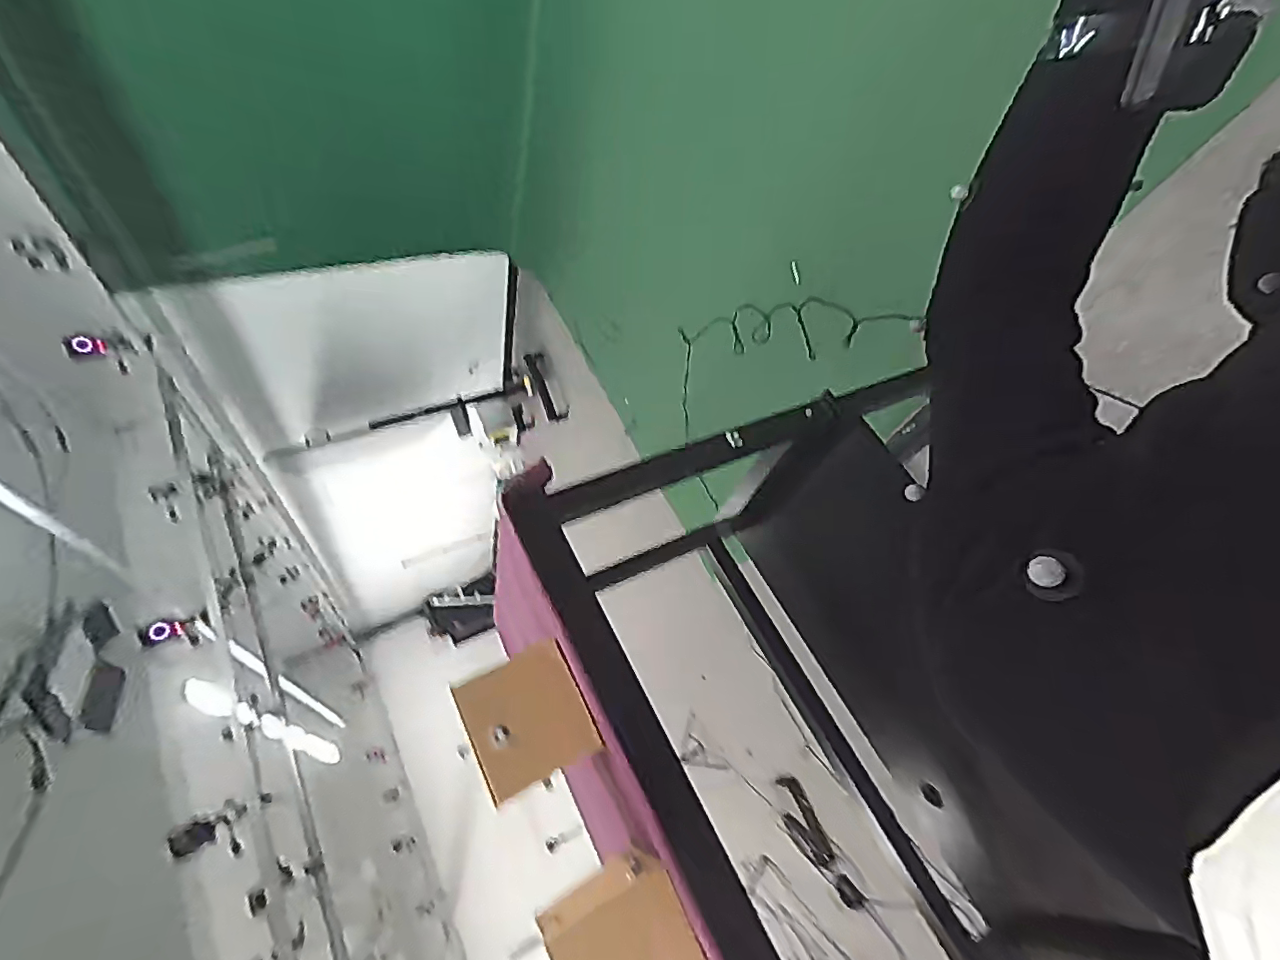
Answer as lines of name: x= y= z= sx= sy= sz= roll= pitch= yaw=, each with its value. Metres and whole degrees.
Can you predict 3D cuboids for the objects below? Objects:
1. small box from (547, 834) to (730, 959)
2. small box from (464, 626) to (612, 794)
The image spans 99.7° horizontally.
small box: x=-0.004 y=0.611 z=0.719 sx=0.179 sy=0.176 sz=0.168 roll=60 pitch=154 yaw=17
small box: x=-0.161 y=0.358 z=0.850 sx=0.179 sy=0.176 sz=0.168 roll=60 pitch=154 yaw=18
